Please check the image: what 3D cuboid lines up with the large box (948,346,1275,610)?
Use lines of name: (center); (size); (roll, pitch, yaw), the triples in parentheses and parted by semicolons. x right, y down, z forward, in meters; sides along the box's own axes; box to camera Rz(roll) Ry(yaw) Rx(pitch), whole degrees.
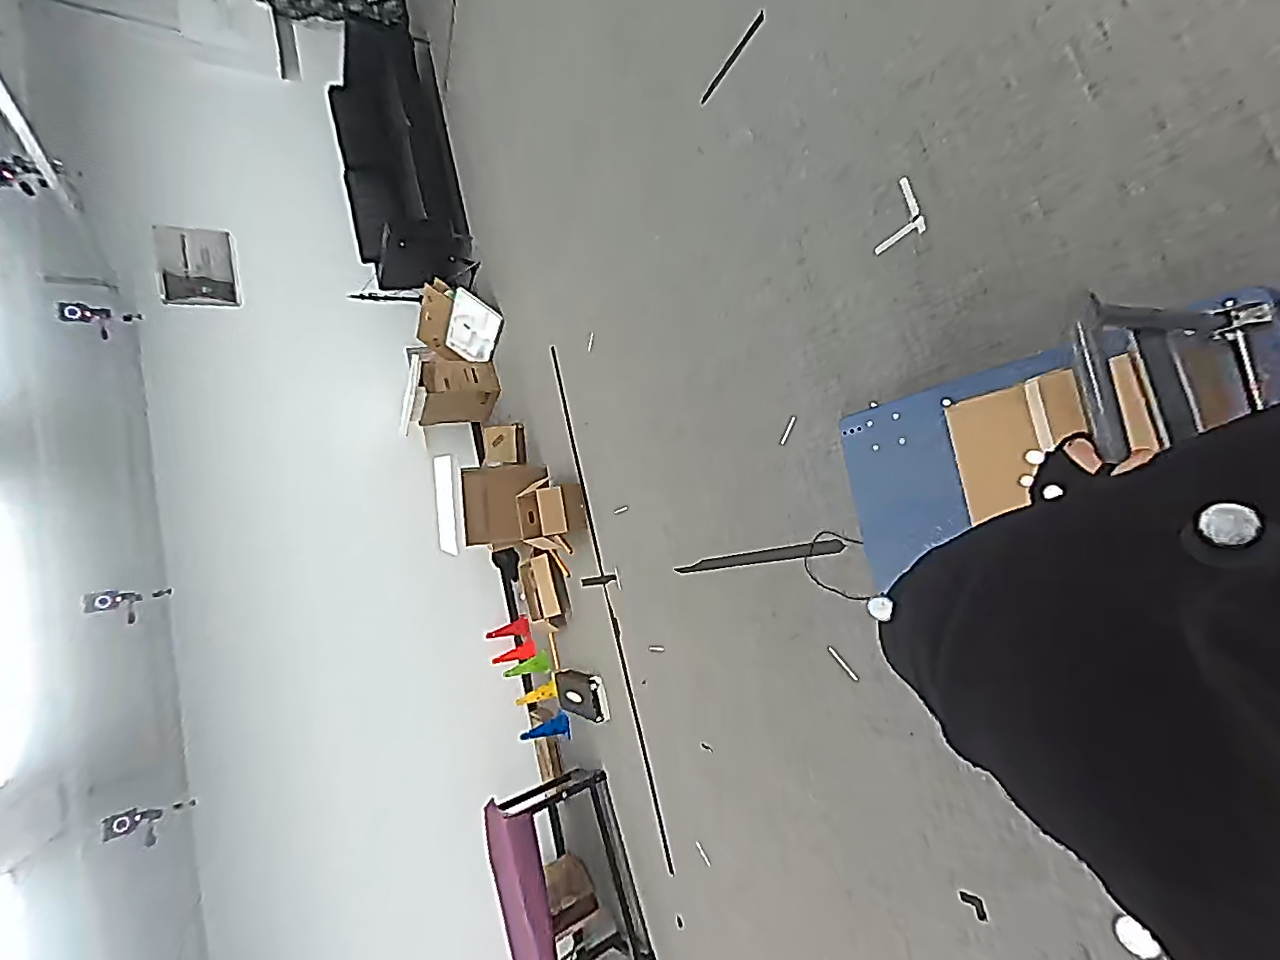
large box: (0.840, 0.003, 0.984); (0.320, 0.320, 0.408); (-18, 81, 58)
